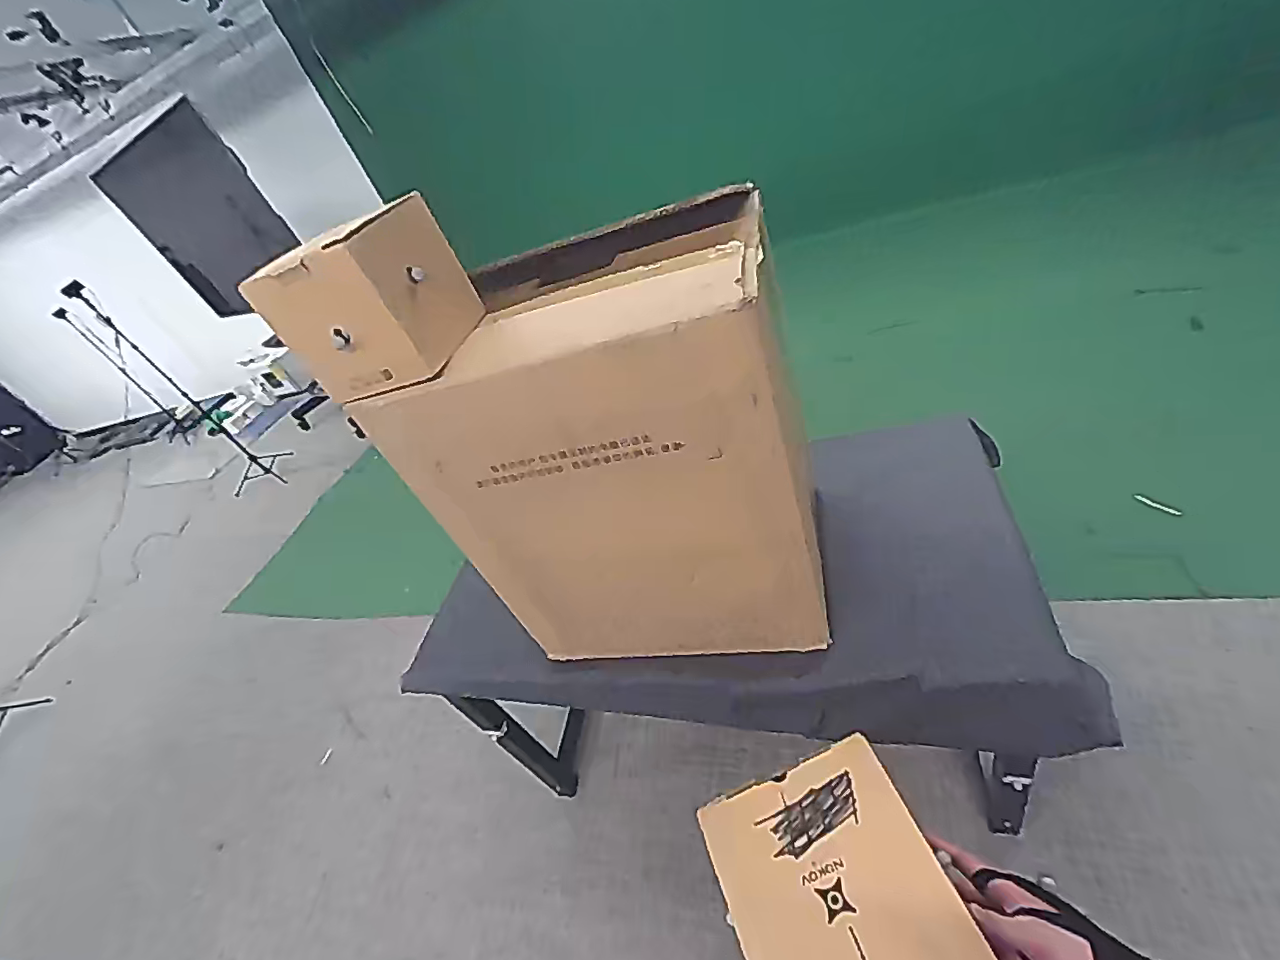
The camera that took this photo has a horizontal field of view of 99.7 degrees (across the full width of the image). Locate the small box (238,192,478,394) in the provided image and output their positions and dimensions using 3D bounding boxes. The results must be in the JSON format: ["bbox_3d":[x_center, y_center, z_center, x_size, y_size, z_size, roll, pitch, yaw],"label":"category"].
[{"bbox_3d":[-0.335,-0.225,0.684,0.168,0.176,0.179,-9,41,21],"label":"small box"}]
